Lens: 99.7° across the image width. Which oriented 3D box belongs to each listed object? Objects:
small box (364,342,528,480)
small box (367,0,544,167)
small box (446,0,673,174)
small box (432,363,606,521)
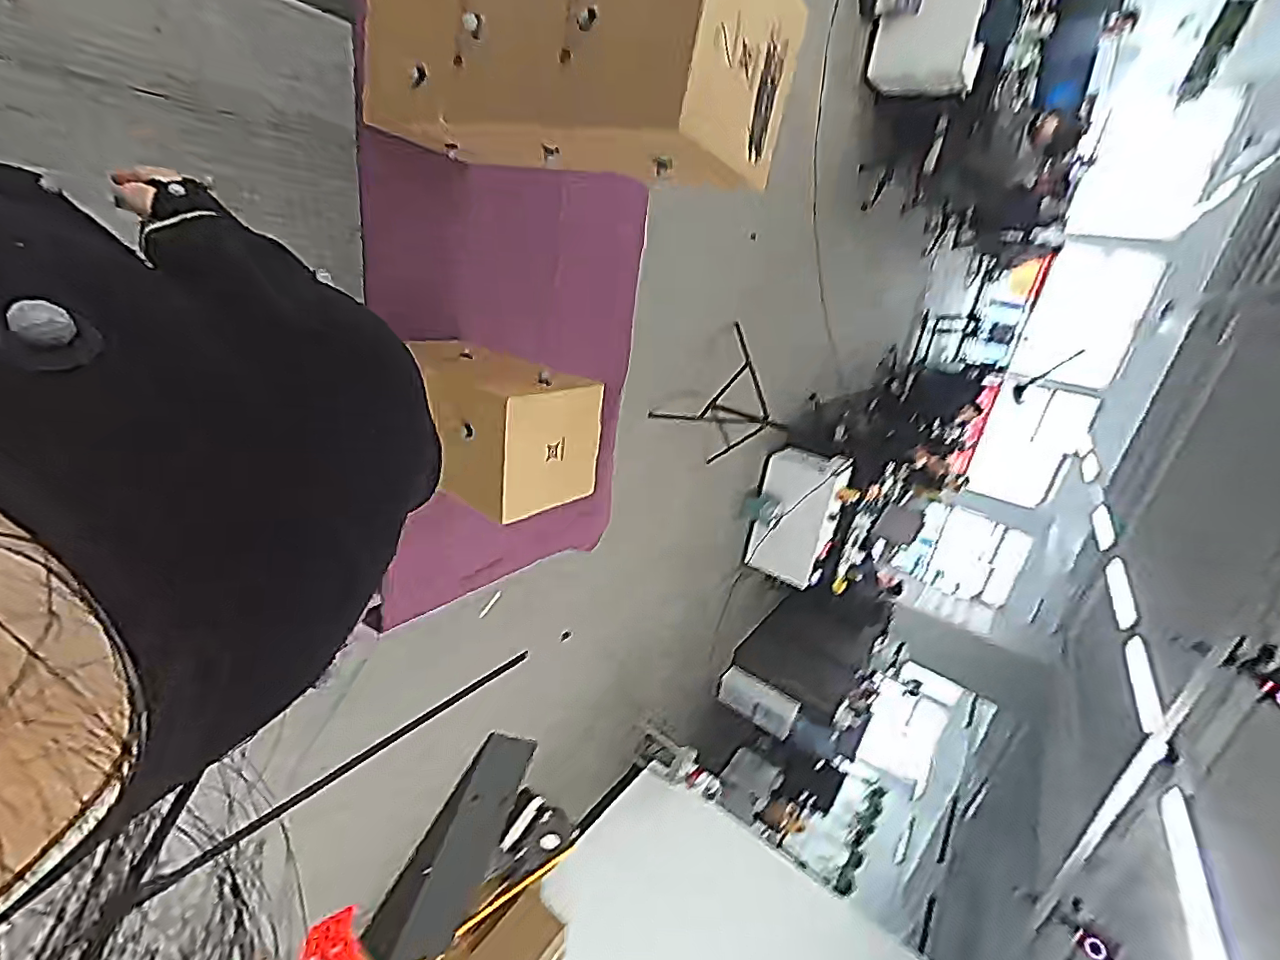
[{"bbox_3d":[-0.299,-0.118,0.840,0.179,0.176,0.168,-19,124,-50],"label":"small box"},{"bbox_3d":[-0.226,-0.521,0.688,0.168,0.176,0.179,-15,122,-53],"label":"small box"},{"bbox_3d":[-0.091,-0.465,0.612,0.179,0.176,0.168,-16,122,-52],"label":"small box"},{"bbox_3d":[-0.172,-0.064,0.753,0.179,0.176,0.168,-22,125,-51],"label":"small box"}]
